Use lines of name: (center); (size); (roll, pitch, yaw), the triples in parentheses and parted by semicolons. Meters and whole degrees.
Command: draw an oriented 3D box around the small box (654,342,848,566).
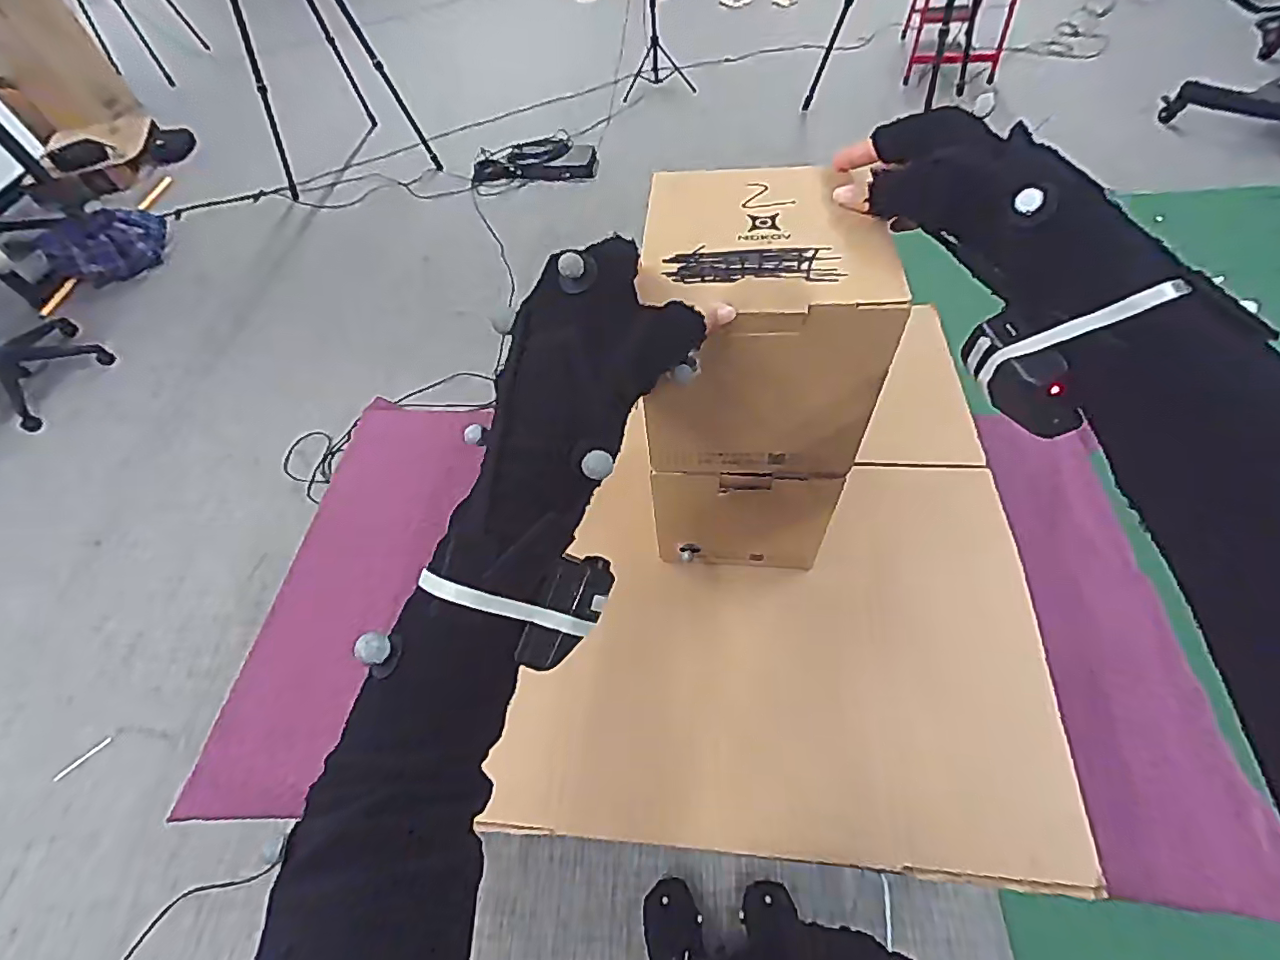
small box: (0.105, -0.020, 0.567); (0.168, 0.176, 0.179); (0, 56, 5)
